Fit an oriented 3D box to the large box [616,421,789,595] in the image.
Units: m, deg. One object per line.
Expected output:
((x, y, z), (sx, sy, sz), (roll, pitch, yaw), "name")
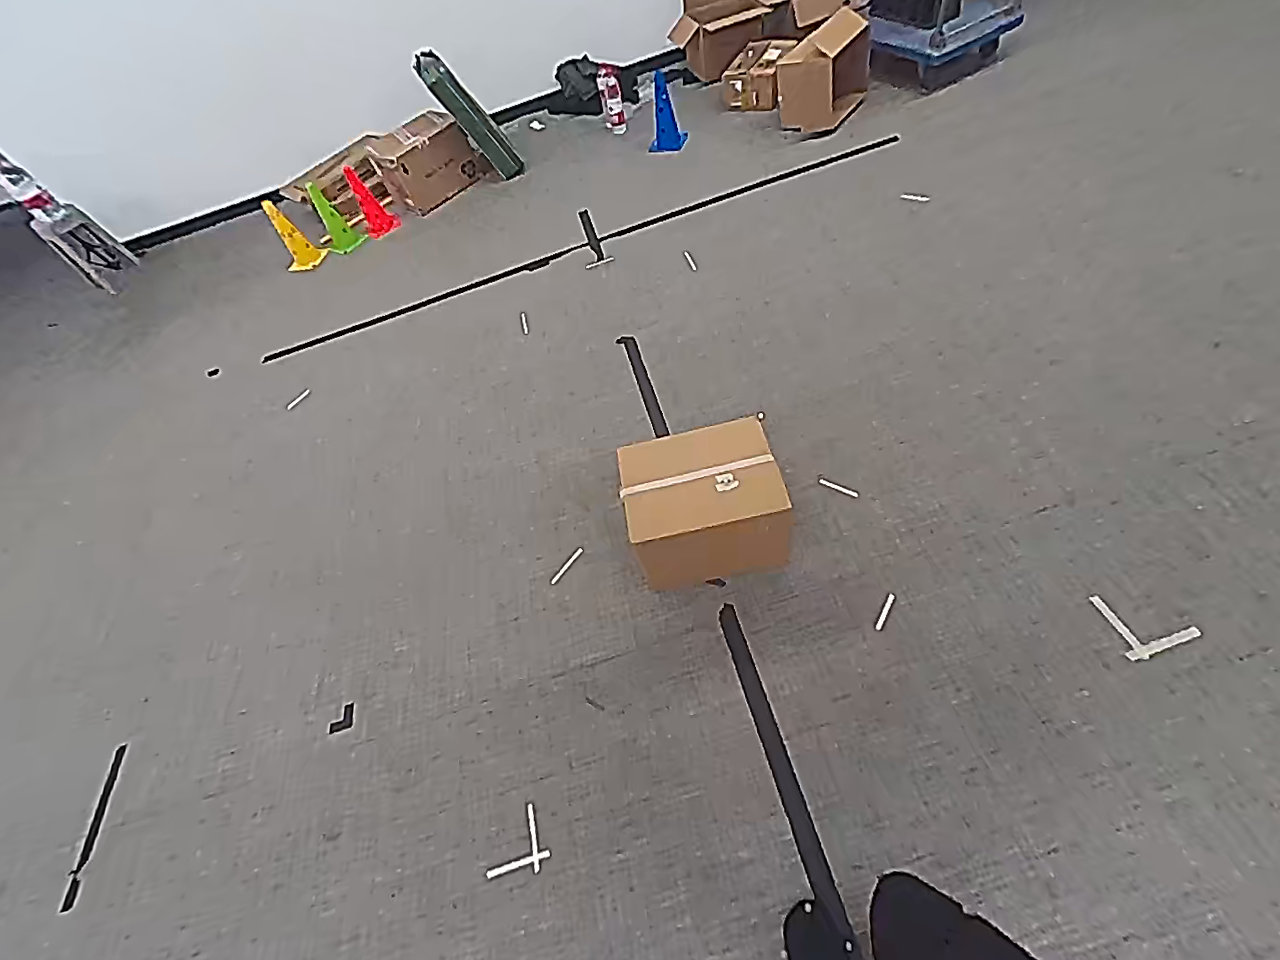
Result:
((0.173, 0.086, 1.520), (0.408, 0.320, 0.320), (-13, 54, 4), "large box")
